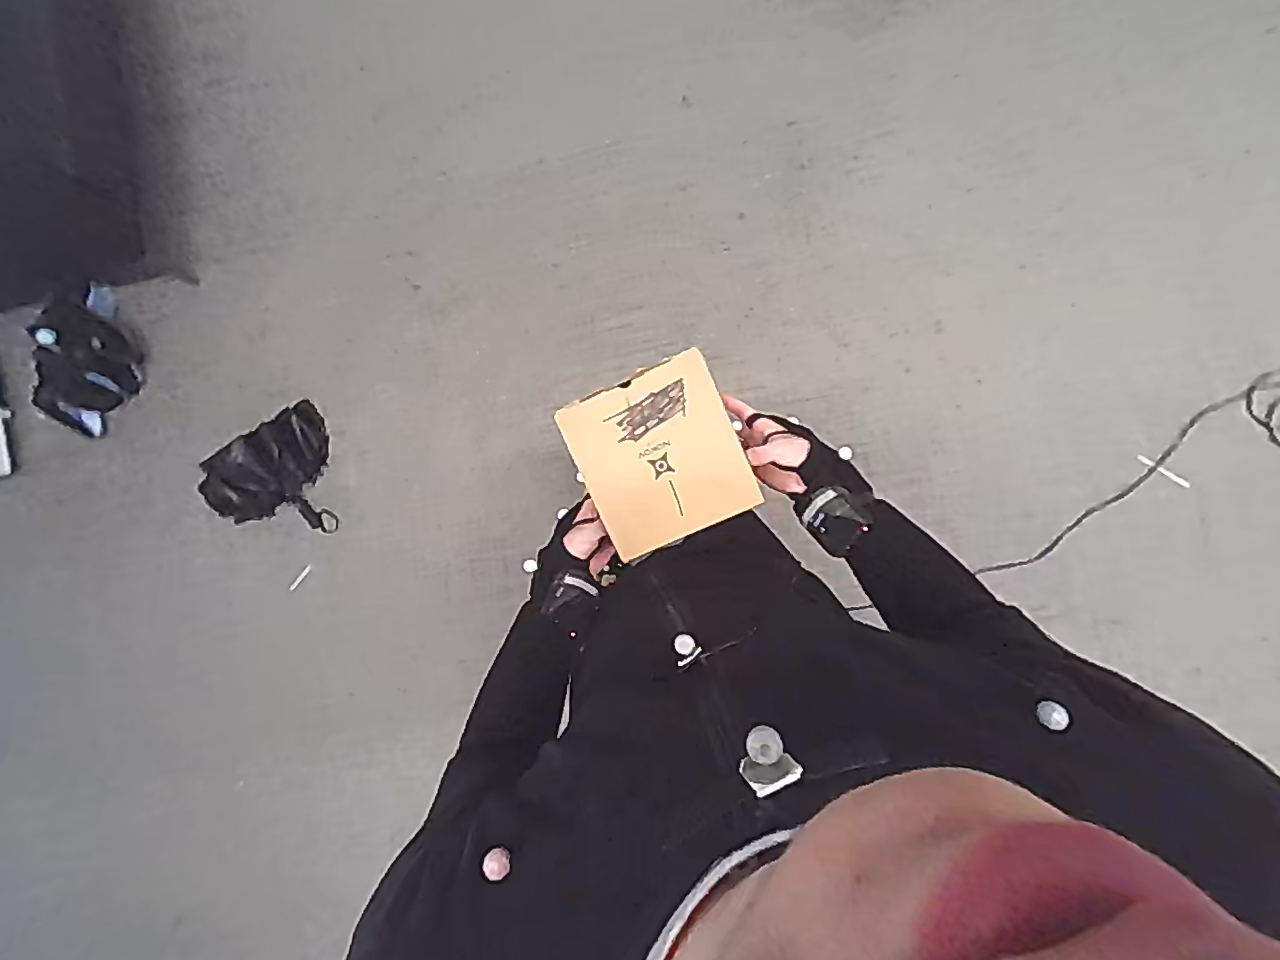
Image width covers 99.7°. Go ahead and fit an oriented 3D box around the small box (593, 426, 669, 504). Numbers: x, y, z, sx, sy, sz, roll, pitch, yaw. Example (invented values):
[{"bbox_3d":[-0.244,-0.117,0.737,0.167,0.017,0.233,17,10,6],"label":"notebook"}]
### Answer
[{"bbox_3d":[-0.020,-0.036,1.476,0.168,0.176,0.179,-14,89,6],"label":"small box"}]
